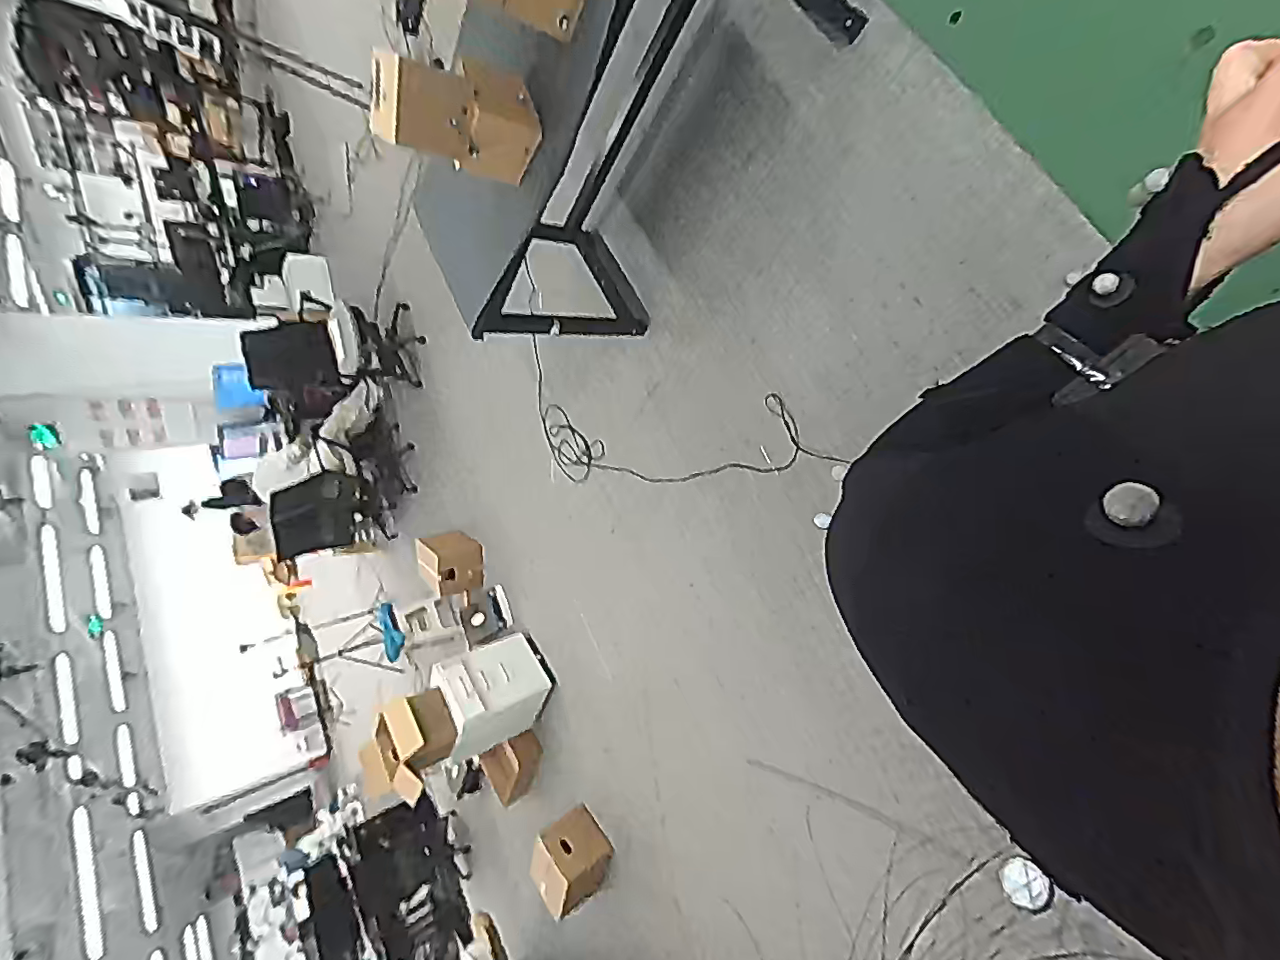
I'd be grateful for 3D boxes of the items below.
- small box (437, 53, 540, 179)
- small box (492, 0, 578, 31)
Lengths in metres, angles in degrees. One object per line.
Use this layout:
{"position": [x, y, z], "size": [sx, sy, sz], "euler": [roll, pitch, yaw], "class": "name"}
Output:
{"position": [-0.369, -0.872, 1.316], "size": [0.168, 0.176, 0.179], "euler": [-34, 71, 48], "class": "small box"}
{"position": [-0.216, -1.056, 1.089], "size": [0.168, 0.176, 0.179], "euler": [-46, 62, 45], "class": "small box"}
